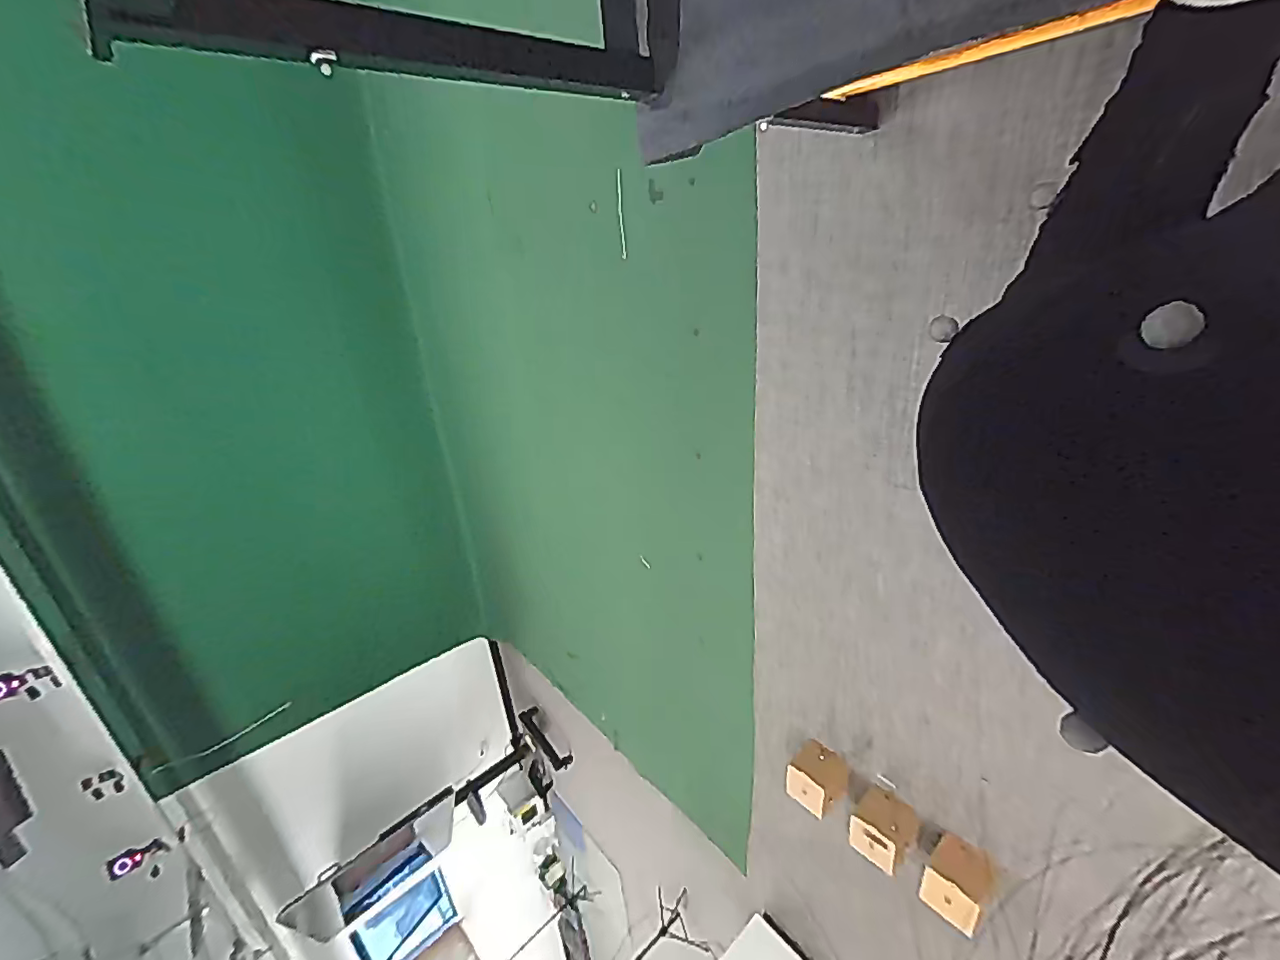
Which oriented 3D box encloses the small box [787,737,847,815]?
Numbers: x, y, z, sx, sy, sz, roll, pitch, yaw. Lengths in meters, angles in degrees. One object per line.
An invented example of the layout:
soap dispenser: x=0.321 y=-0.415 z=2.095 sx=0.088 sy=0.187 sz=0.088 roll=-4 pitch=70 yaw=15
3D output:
small box: x=0.714 y=1.186 z=2.179 sx=0.168 sy=0.176 sz=0.179 roll=23 pitch=124 yaw=45

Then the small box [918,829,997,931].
small box: x=1.058 y=1.325 z=1.801 sx=0.168 sy=0.176 sz=0.179 roll=22 pitch=124 yaw=45
